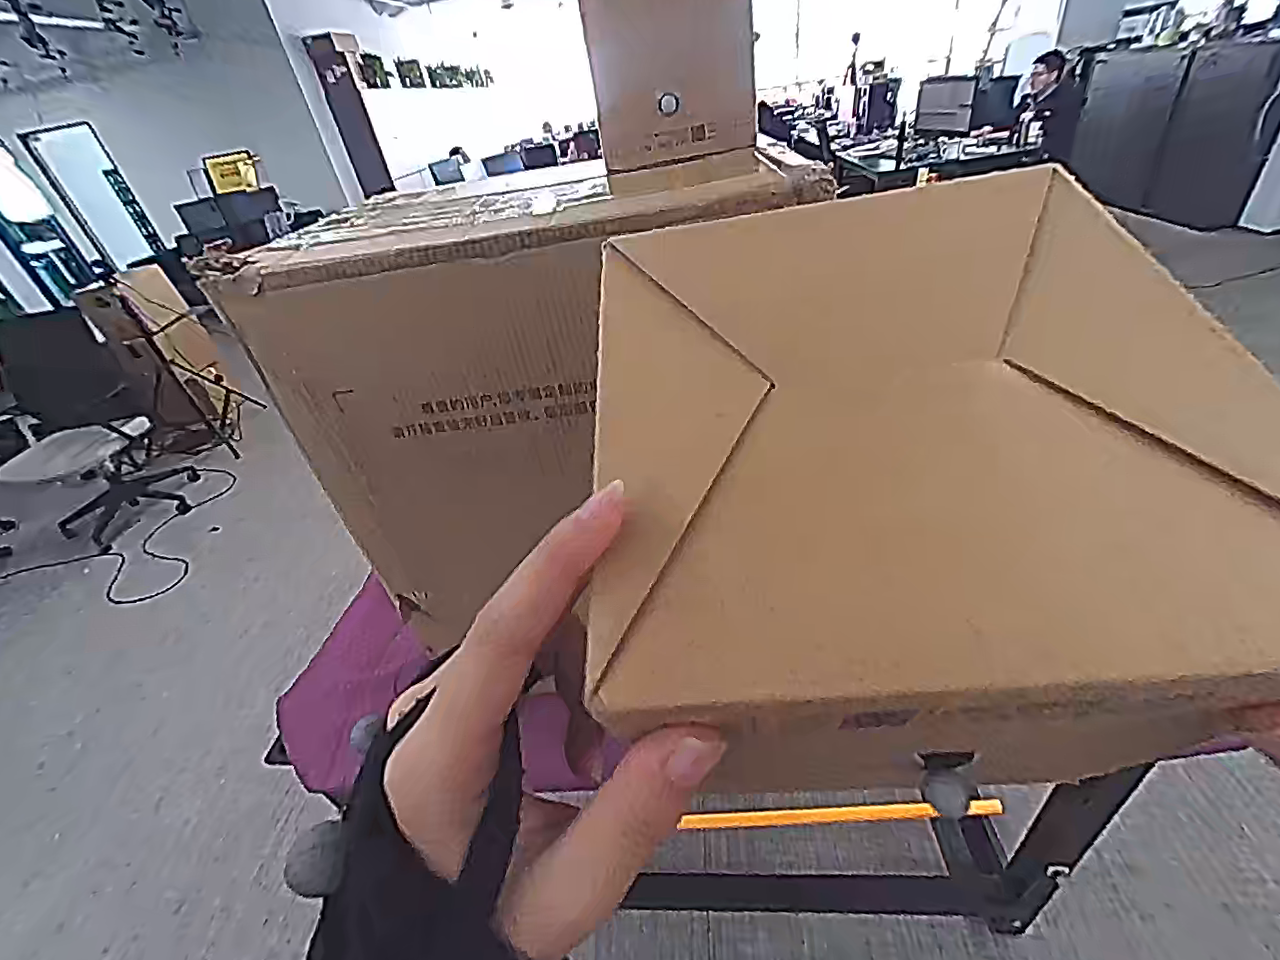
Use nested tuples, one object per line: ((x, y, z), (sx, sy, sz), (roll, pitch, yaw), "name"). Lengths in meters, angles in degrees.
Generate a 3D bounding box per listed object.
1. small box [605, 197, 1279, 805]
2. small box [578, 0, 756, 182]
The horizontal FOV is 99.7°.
((0.082, 0.019, 0.220), (0.168, 0.176, 0.179), (-6, 54, 7), "small box")
((0.037, -0.446, 0.607), (0.168, 0.176, 0.179), (-6, 35, 8), "small box")
